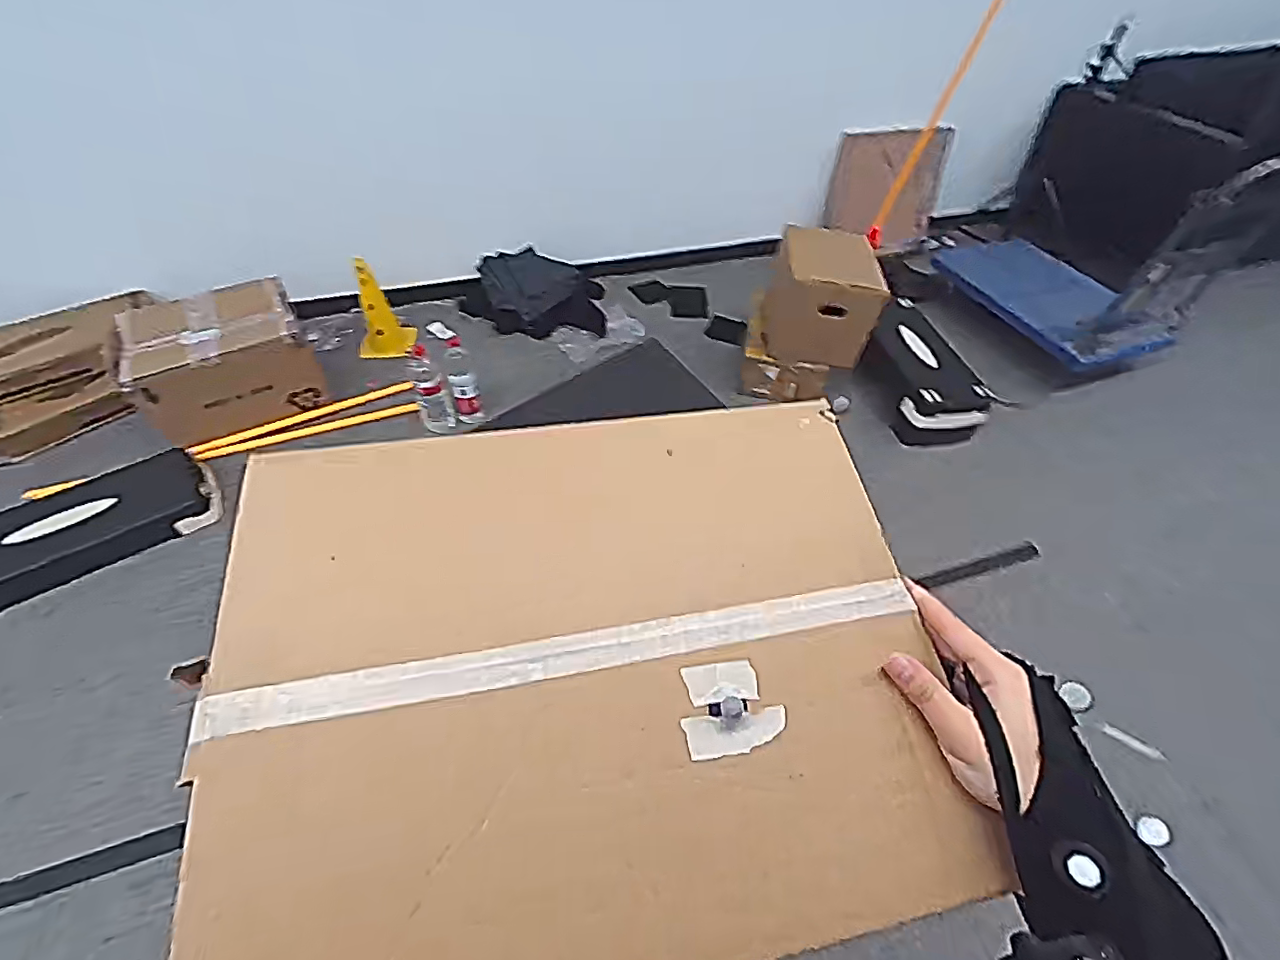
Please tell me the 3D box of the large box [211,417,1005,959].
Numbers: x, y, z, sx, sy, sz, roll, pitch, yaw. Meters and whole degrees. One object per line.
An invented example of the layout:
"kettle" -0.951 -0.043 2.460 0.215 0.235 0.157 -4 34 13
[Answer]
"large box" -0.036 0.175 0.454 0.408 0.320 0.320 -6 64 -11
